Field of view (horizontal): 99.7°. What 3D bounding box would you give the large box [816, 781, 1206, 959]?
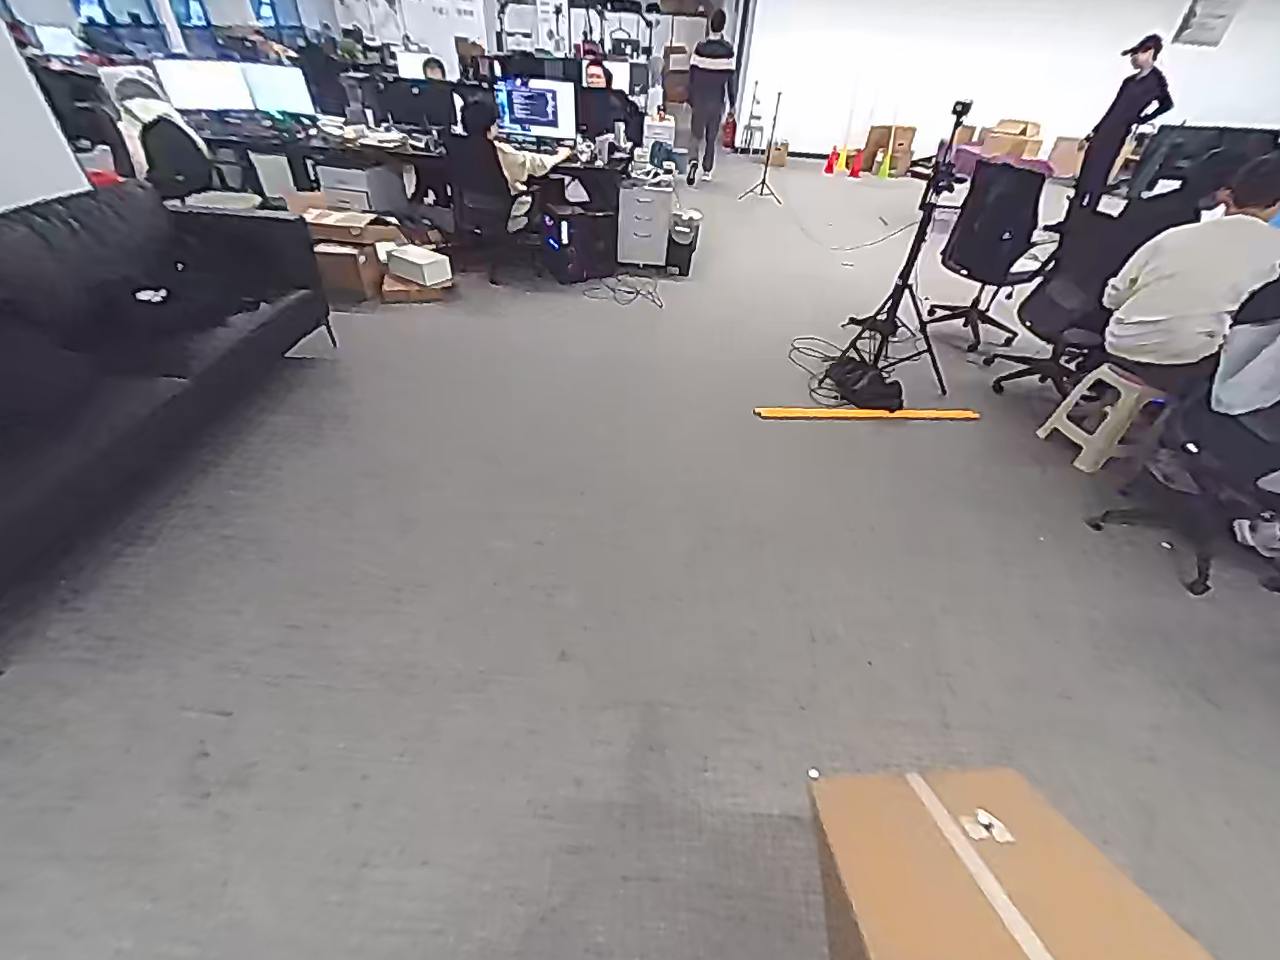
[{"bbox_3d":[0.423,0.626,0.641,0.320,0.320,0.408,-5,0,7],"label":"large box"}]
